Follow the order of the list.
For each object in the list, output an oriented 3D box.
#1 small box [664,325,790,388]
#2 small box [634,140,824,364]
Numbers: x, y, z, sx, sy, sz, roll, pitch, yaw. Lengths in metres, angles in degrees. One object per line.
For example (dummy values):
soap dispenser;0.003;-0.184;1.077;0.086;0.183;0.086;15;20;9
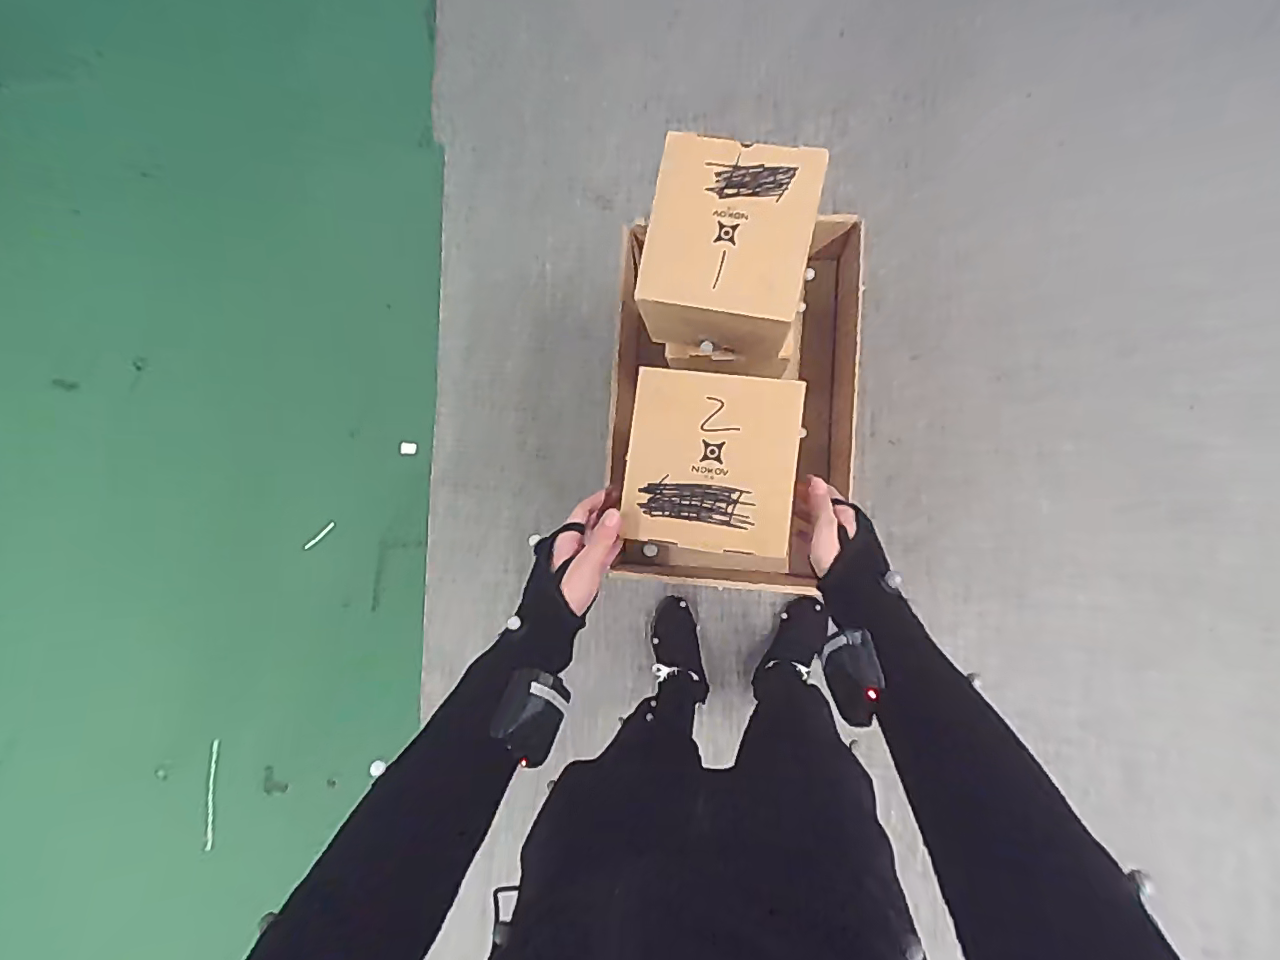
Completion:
small box;0.126;-0.240;0.791;0.168;0.176;0.179;2;89;8
small box;0.099;-0.250;0.629;0.168;0.176;0.179;12;91;8
